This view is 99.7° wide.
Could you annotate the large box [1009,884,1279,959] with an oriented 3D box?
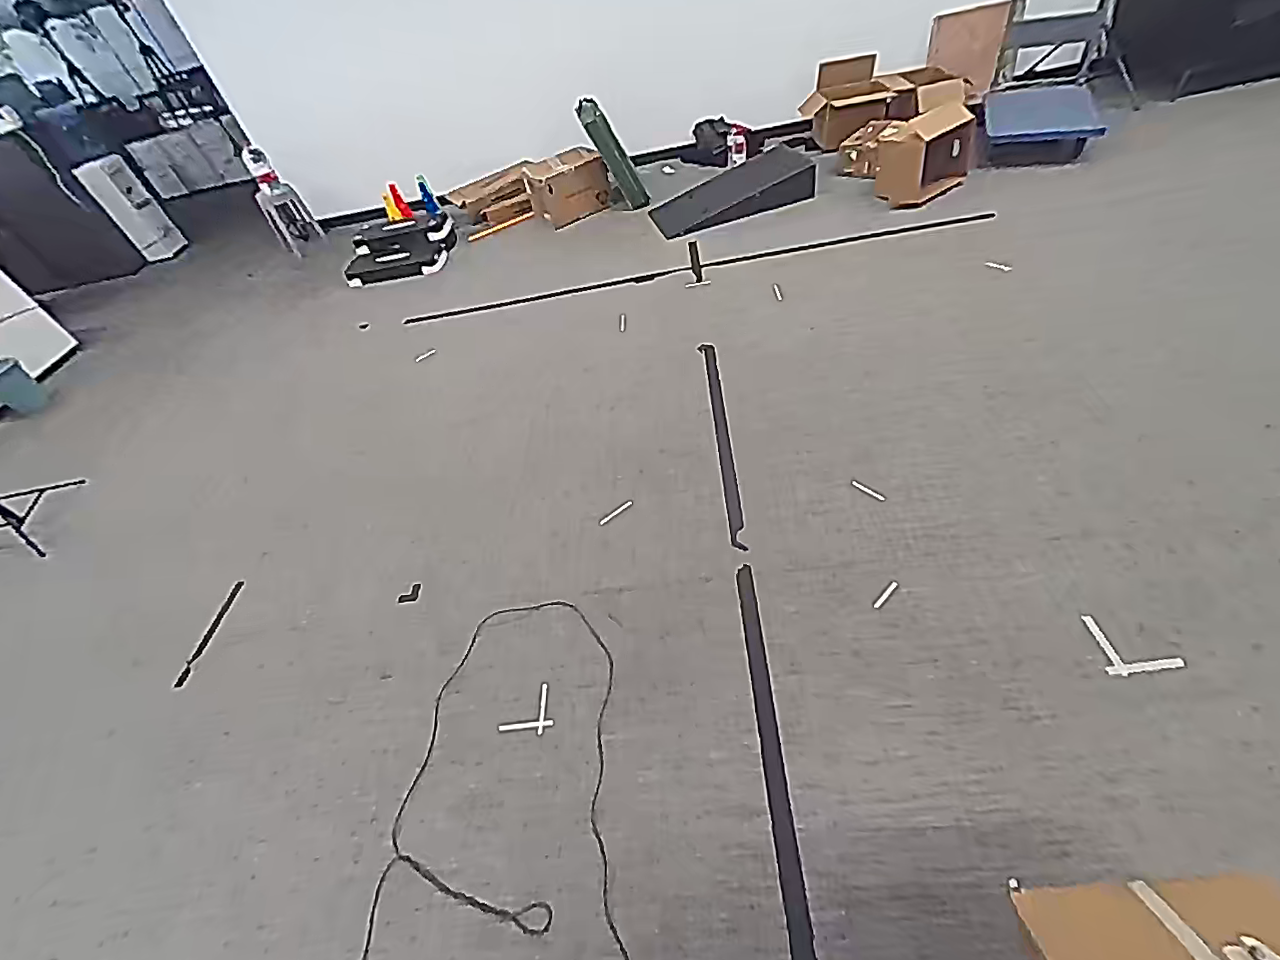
[{"bbox_3d":[0.653,0.696,0.524,0.320,0.408,0.320,-13,84,13],"label":"large box"}]
